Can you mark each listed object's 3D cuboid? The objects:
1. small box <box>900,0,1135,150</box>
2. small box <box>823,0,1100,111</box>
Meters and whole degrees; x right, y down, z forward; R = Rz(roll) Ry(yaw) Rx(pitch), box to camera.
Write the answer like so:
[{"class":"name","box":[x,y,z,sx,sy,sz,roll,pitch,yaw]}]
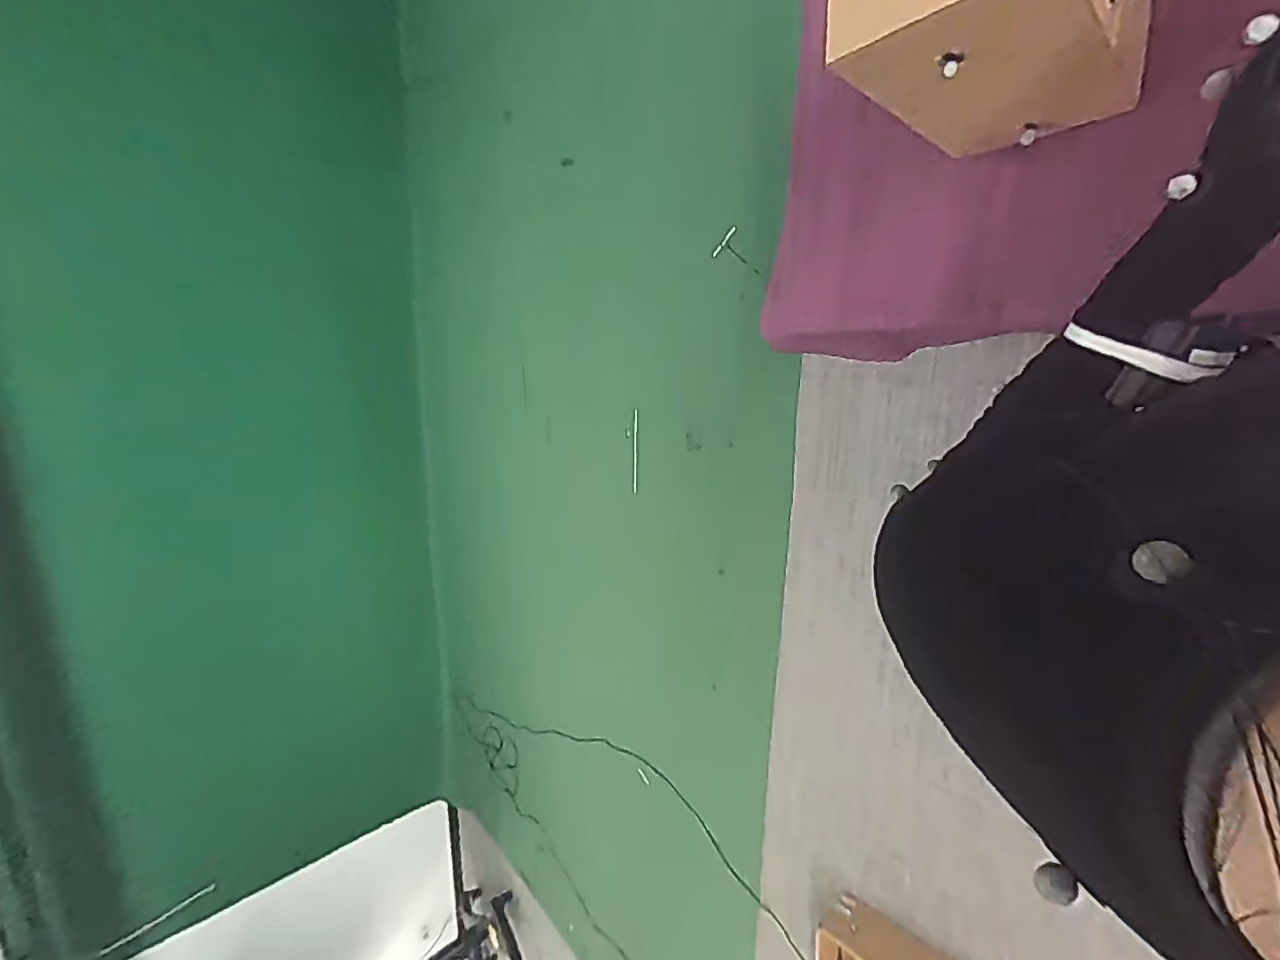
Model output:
[{"class":"small box","box":[0.402,-0.481,0.573,0.179,0.176,0.168,10,106,47]},{"class":"small box","box":[0.281,-0.456,0.464,0.179,0.176,0.168,11,107,48]}]
